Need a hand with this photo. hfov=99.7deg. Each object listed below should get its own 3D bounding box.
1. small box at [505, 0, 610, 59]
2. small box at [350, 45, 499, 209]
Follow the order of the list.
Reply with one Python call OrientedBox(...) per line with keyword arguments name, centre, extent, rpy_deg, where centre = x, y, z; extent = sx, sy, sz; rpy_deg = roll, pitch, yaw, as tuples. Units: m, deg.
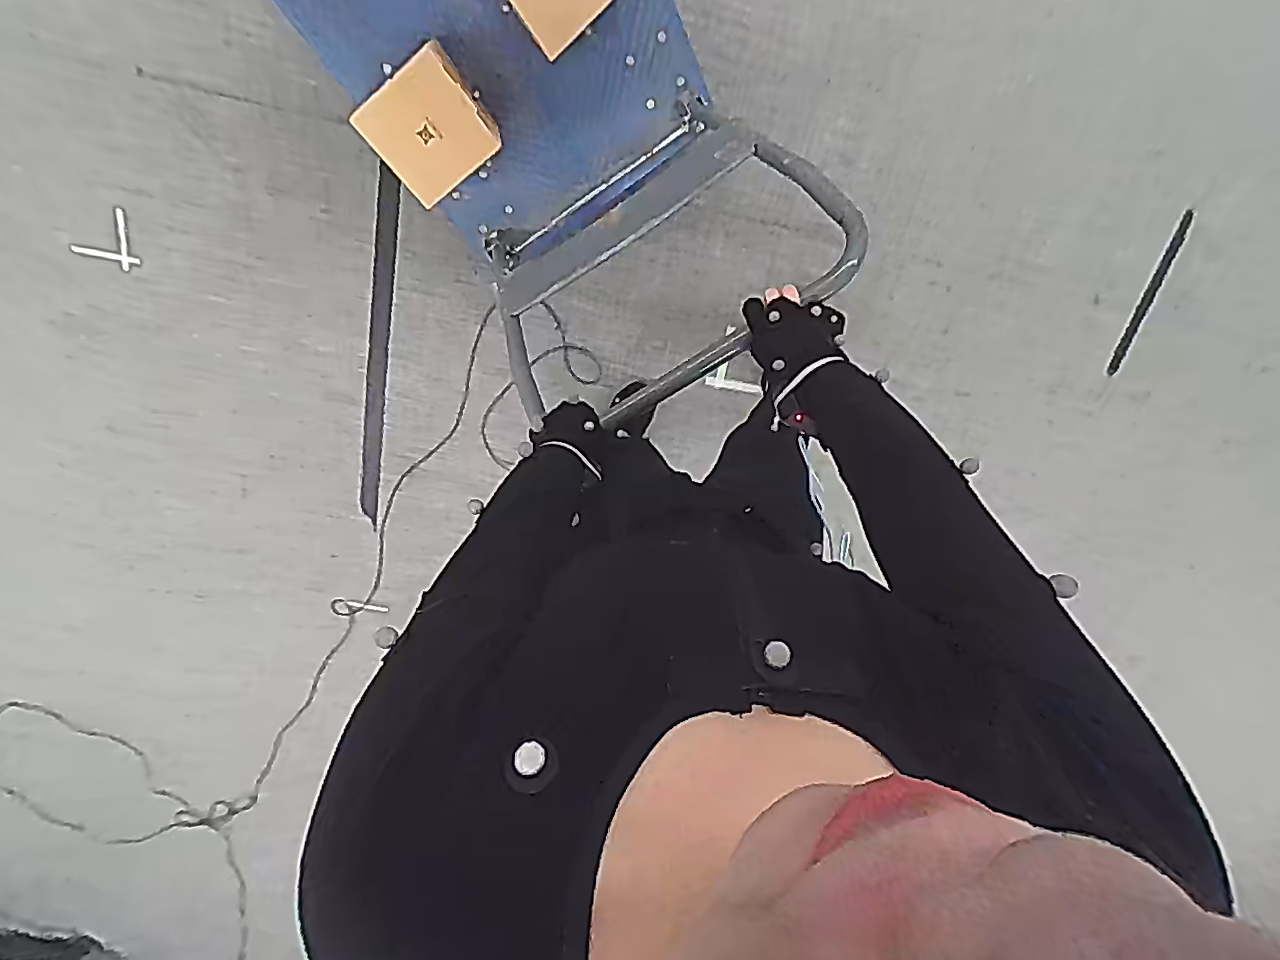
OrientedBox(name="small box", centre=(-0.140, -0.809, 0.848), extent=(0.179, 0.176, 0.168), rpy_deg=(-35, 131, 16))
OrientedBox(name="small box", centre=(-0.367, -0.619, 0.950), extent=(0.179, 0.176, 0.168), rpy_deg=(-34, 131, 12))
